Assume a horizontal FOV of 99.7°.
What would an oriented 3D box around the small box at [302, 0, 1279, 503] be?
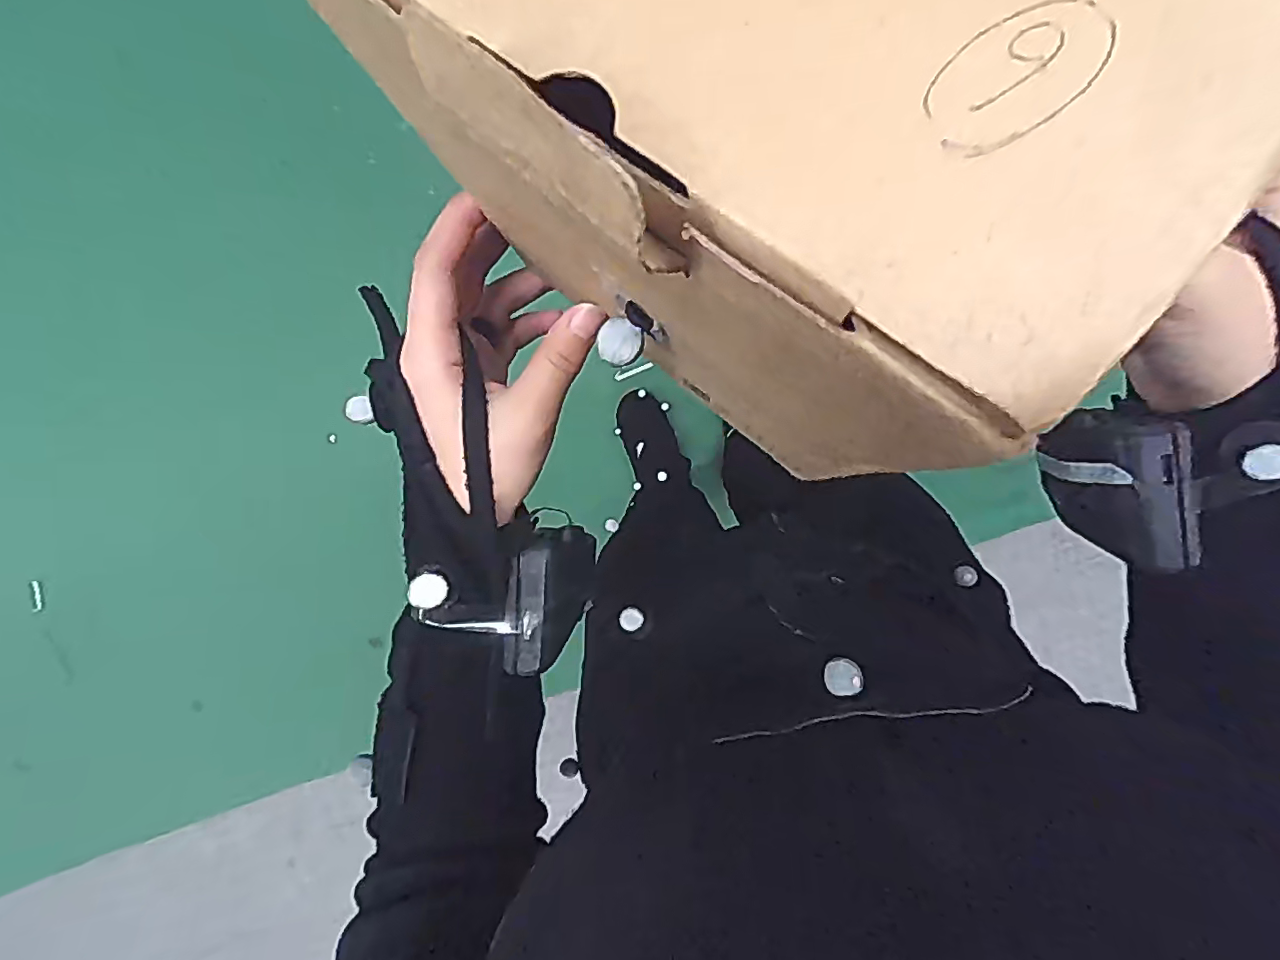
[{"bbox_3d":[0.058,-0.109,0.169,0.168,0.176,0.179,38,94,7],"label":"small box"}]
